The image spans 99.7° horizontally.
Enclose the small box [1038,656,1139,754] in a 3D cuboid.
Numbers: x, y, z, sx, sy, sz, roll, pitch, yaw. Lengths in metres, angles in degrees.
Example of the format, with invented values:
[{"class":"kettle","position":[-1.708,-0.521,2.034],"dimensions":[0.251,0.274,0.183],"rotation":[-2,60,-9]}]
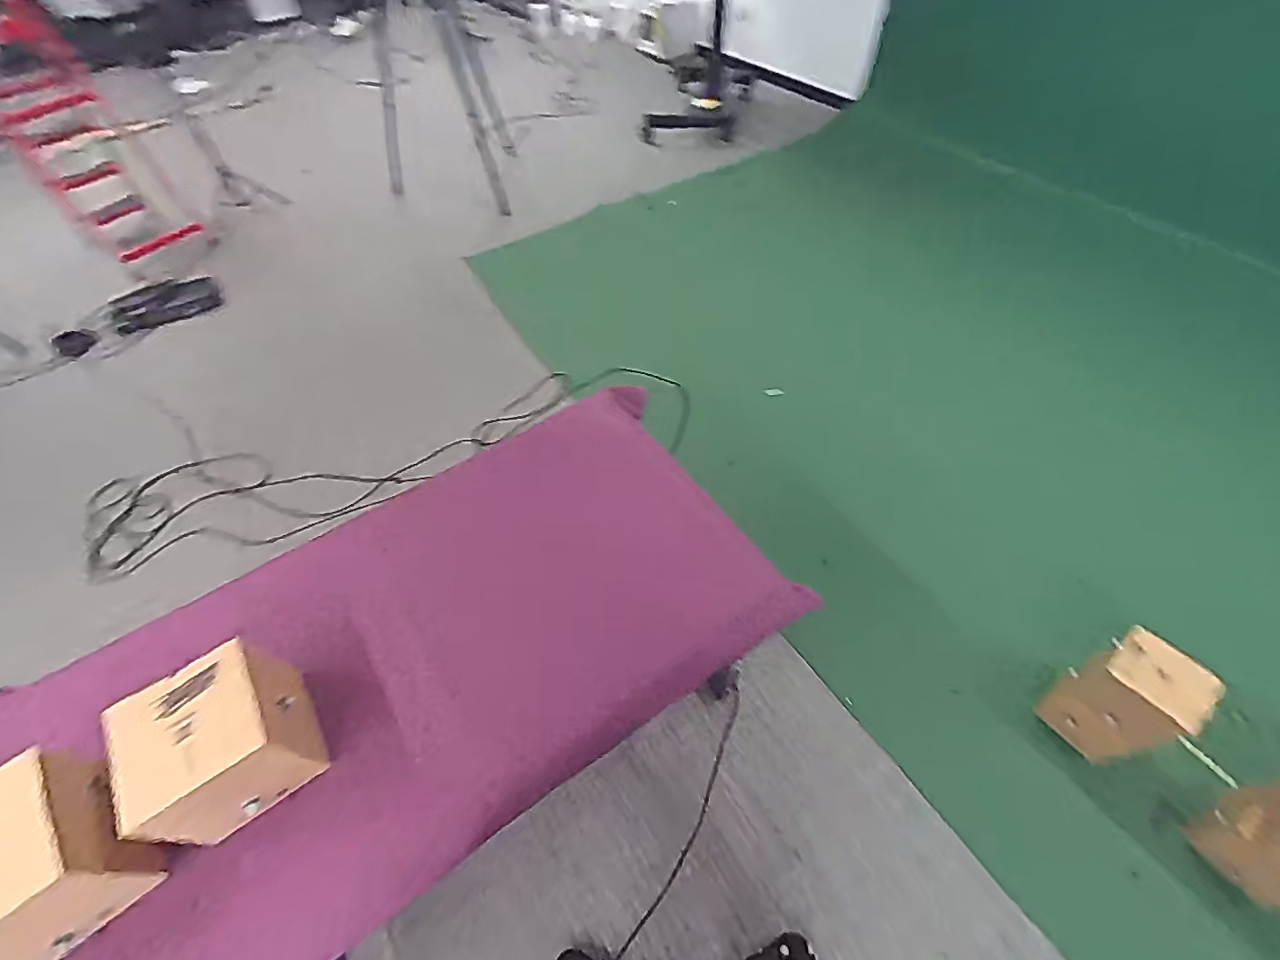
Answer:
[{"class":"small box","position":[1.176,0.571,1.391],"dimensions":[0.179,0.176,0.168],"rotation":[-32,57,-19]}]

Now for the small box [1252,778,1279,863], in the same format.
[{"class":"small box","position":[1.394,0.707,1.070],"dimensions":[0.179,0.176,0.168],"rotation":[-39,60,-22]}]

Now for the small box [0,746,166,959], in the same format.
[{"class":"small box","position":[-0.765,0.481,0.687],"dimensions":[0.168,0.176,0.179],"rotation":[-36,60,-20]}]

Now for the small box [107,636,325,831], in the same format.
[{"class":"small box","position":[-0.587,0.361,0.763],"dimensions":[0.168,0.176,0.179],"rotation":[-32,59,-18]}]

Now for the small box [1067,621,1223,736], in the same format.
[{"class":"small box","position":[1.165,0.470,1.262],"dimensions":[0.168,0.176,0.179],"rotation":[-34,59,-20]}]
